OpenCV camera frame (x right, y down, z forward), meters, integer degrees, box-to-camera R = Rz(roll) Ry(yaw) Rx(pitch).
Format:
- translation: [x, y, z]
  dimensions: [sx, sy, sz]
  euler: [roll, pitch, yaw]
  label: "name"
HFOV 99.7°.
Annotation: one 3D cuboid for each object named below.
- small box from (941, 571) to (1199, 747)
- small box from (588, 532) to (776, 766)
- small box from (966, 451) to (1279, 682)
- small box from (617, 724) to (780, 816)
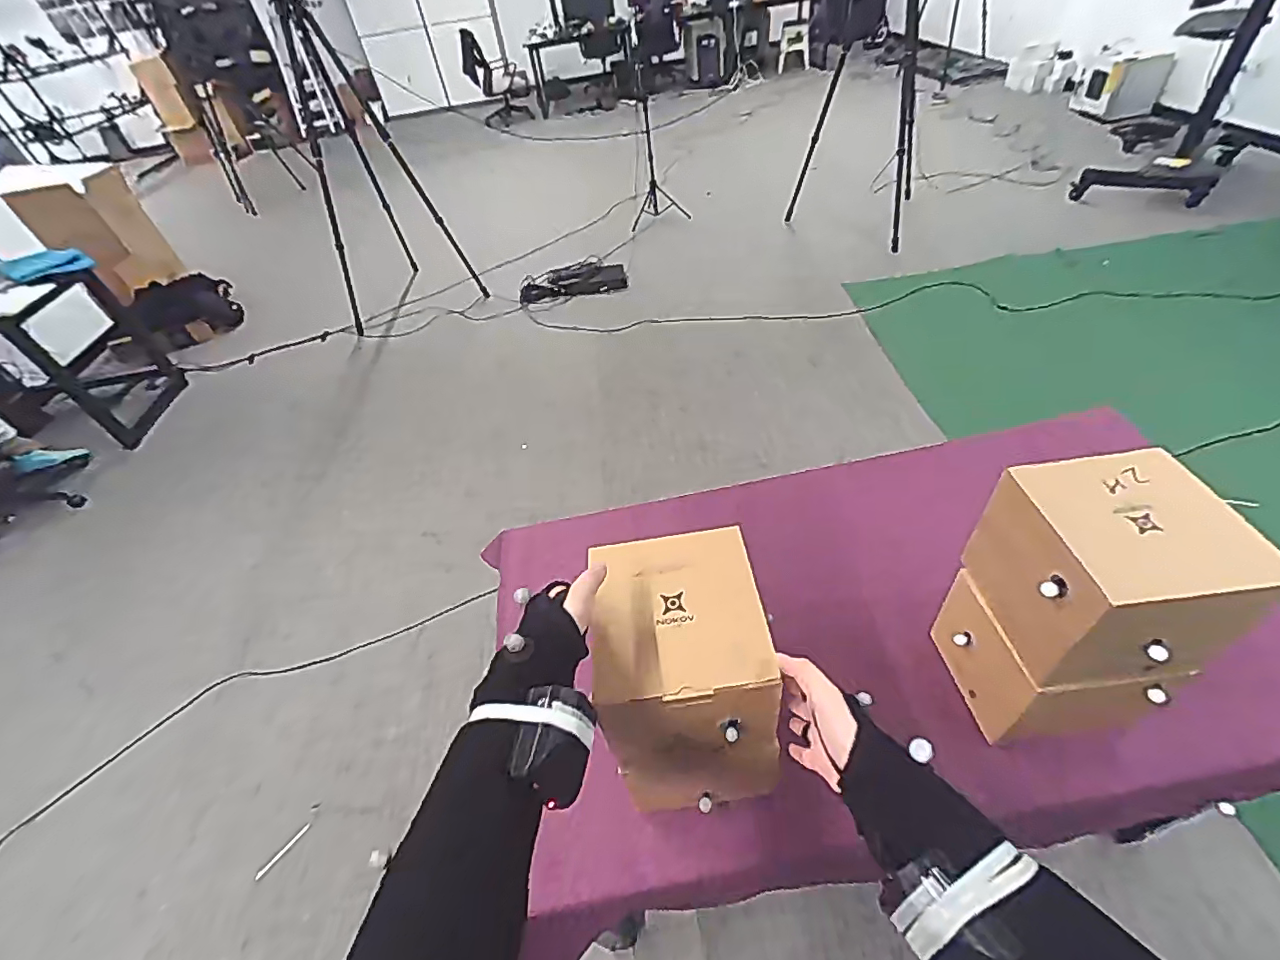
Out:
- translation: [0.508, 0.216, 0.681]
  dimensions: [0.179, 0.176, 0.168]
  euler: [-9, 44, 1]
  label: "small box"
- translation: [0.042, 0.184, 0.573]
  dimensions: [0.168, 0.176, 0.179]
  euler: [-9, 44, 2]
  label: "small box"
- translation: [0.484, 0.097, 0.570]
  dimensions: [0.168, 0.176, 0.179]
  euler: [-7, 44, 3]
  label: "small box"
- translation: [0.064, 0.302, 0.683]
  dimensions: [0.179, 0.176, 0.168]
  euler: [-10, 44, 1]
  label: "small box"
